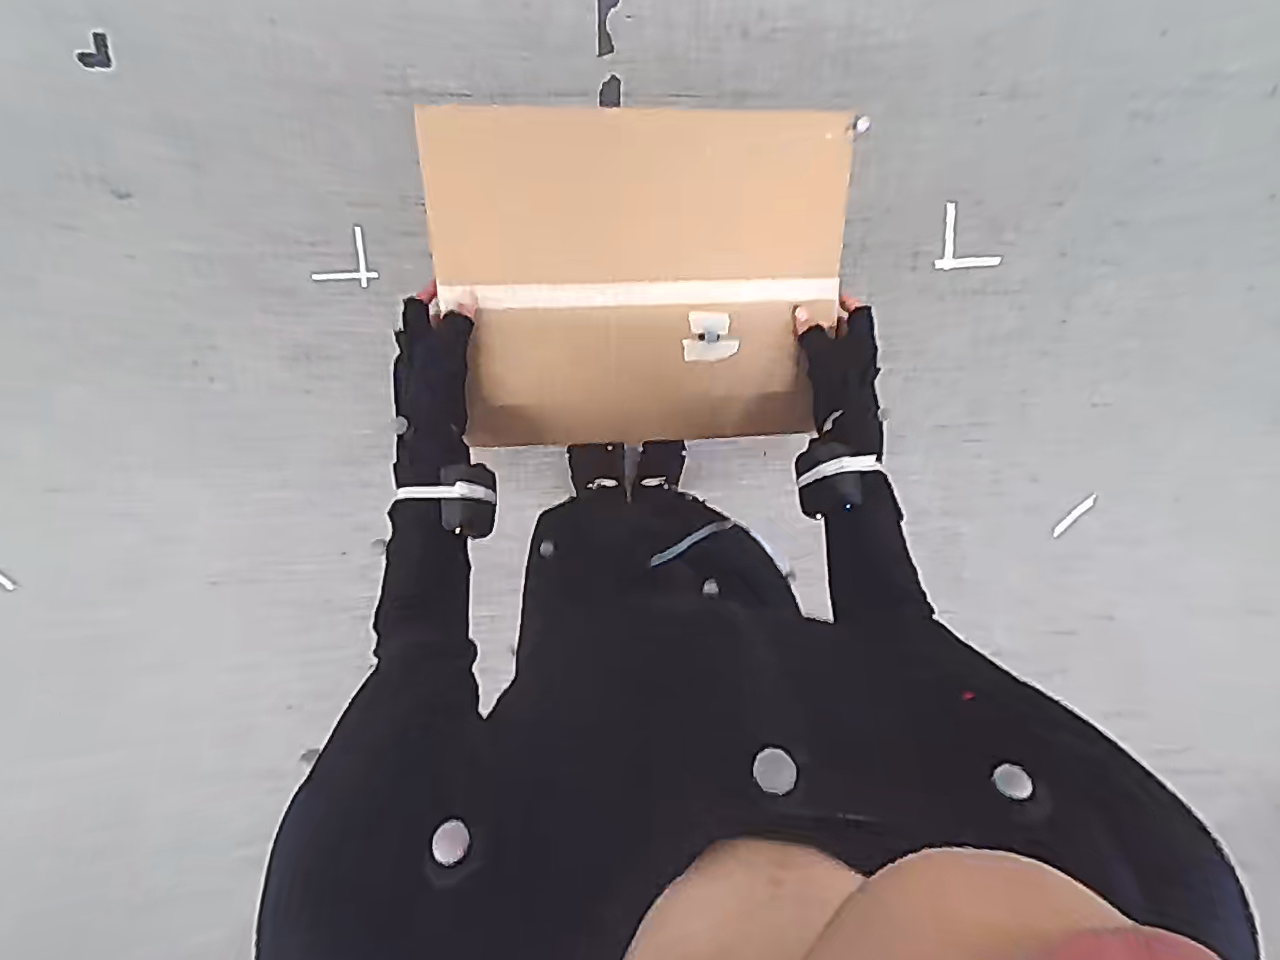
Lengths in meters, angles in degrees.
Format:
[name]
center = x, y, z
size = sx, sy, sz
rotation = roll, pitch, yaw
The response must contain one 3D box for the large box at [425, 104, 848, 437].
[large box]
center = -0.013, -0.253, 0.691
size = 0.408, 0.320, 0.320
rotation = -3, 113, -6
